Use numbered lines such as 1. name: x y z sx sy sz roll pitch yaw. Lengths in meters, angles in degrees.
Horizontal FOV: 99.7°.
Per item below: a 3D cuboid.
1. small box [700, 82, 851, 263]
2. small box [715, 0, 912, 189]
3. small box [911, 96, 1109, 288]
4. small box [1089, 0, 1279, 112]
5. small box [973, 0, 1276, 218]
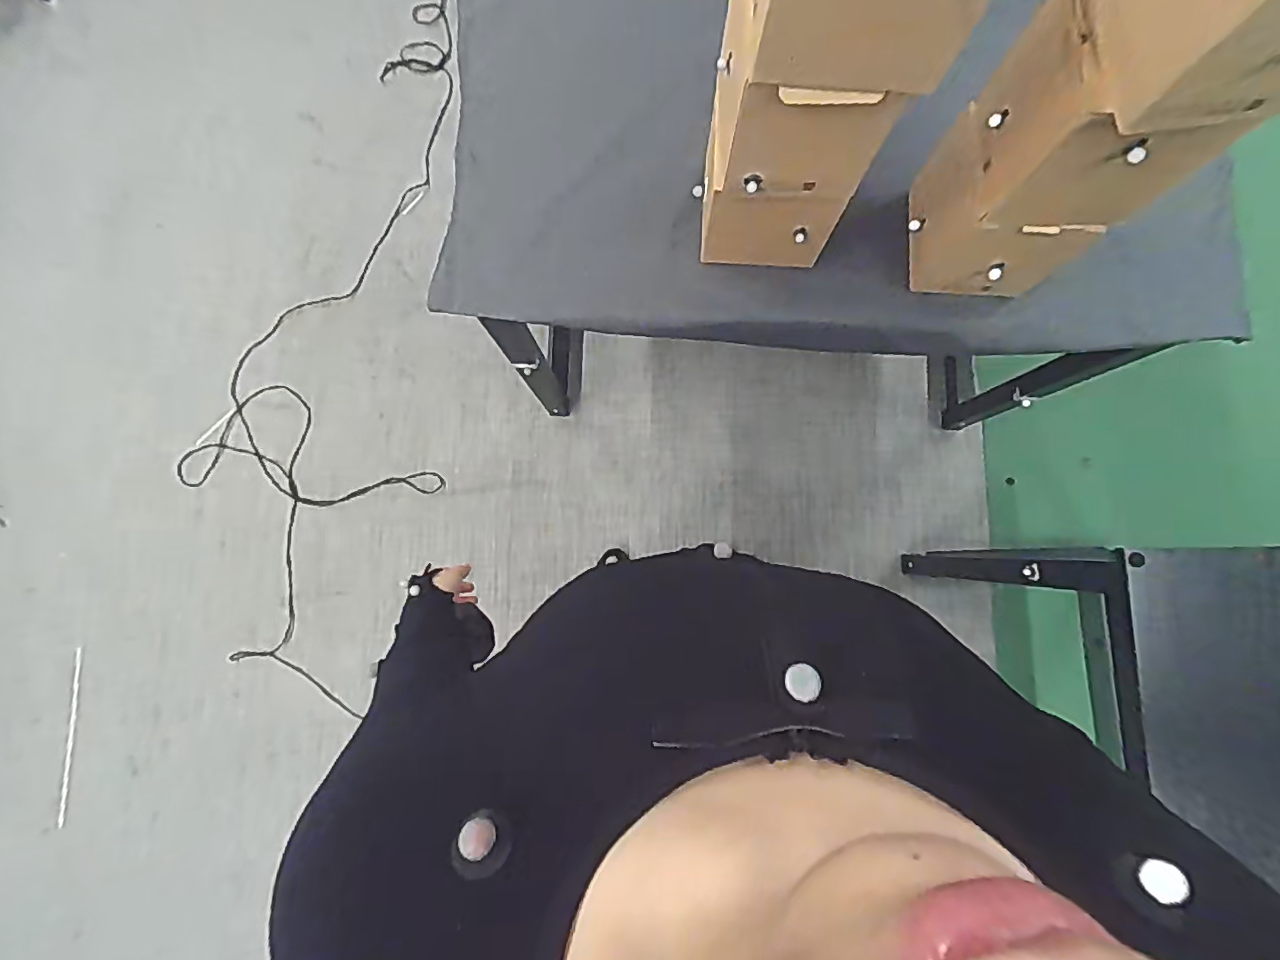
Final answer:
1. small box: 0.181 -0.425 0.762 0.179 0.176 0.168 2 81 3
2. small box: 0.176 -0.451 0.600 0.168 0.176 0.179 0 80 1
3. small box: 0.493 -0.383 0.746 0.168 0.176 0.179 3 82 3
4. small box: 0.501 -0.423 0.420 0.168 0.176 0.179 -7 81 1
5. small box: 0.498 -0.407 0.585 0.179 0.176 0.168 1 81 3
